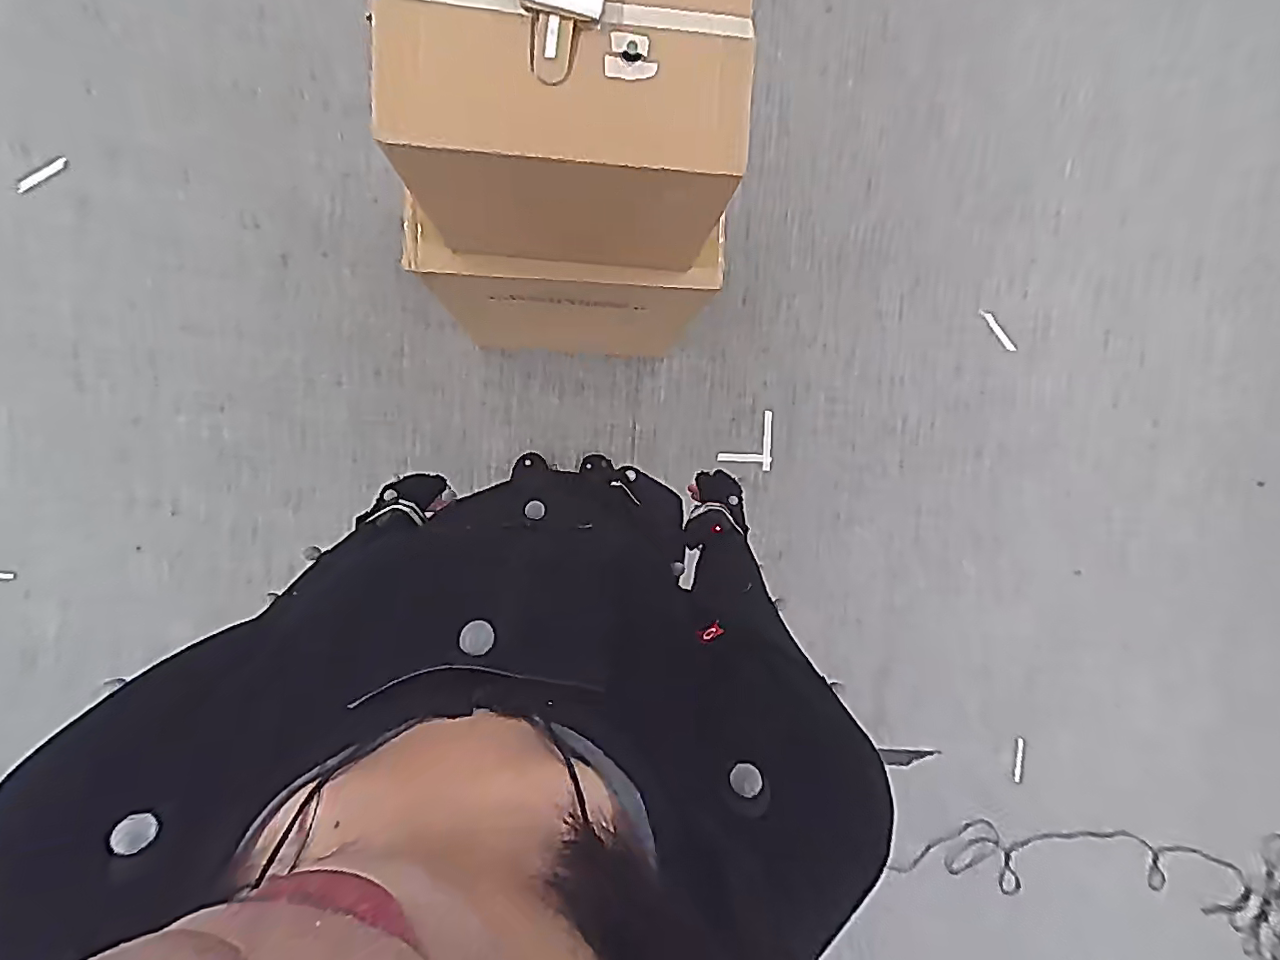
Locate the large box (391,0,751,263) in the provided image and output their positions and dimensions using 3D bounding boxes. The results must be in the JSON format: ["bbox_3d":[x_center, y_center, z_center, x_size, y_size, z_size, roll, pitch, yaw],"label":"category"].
[{"bbox_3d":[-0.088,-0.518,0.747,0.408,0.320,0.320,2,92,-7],"label":"large box"}]
